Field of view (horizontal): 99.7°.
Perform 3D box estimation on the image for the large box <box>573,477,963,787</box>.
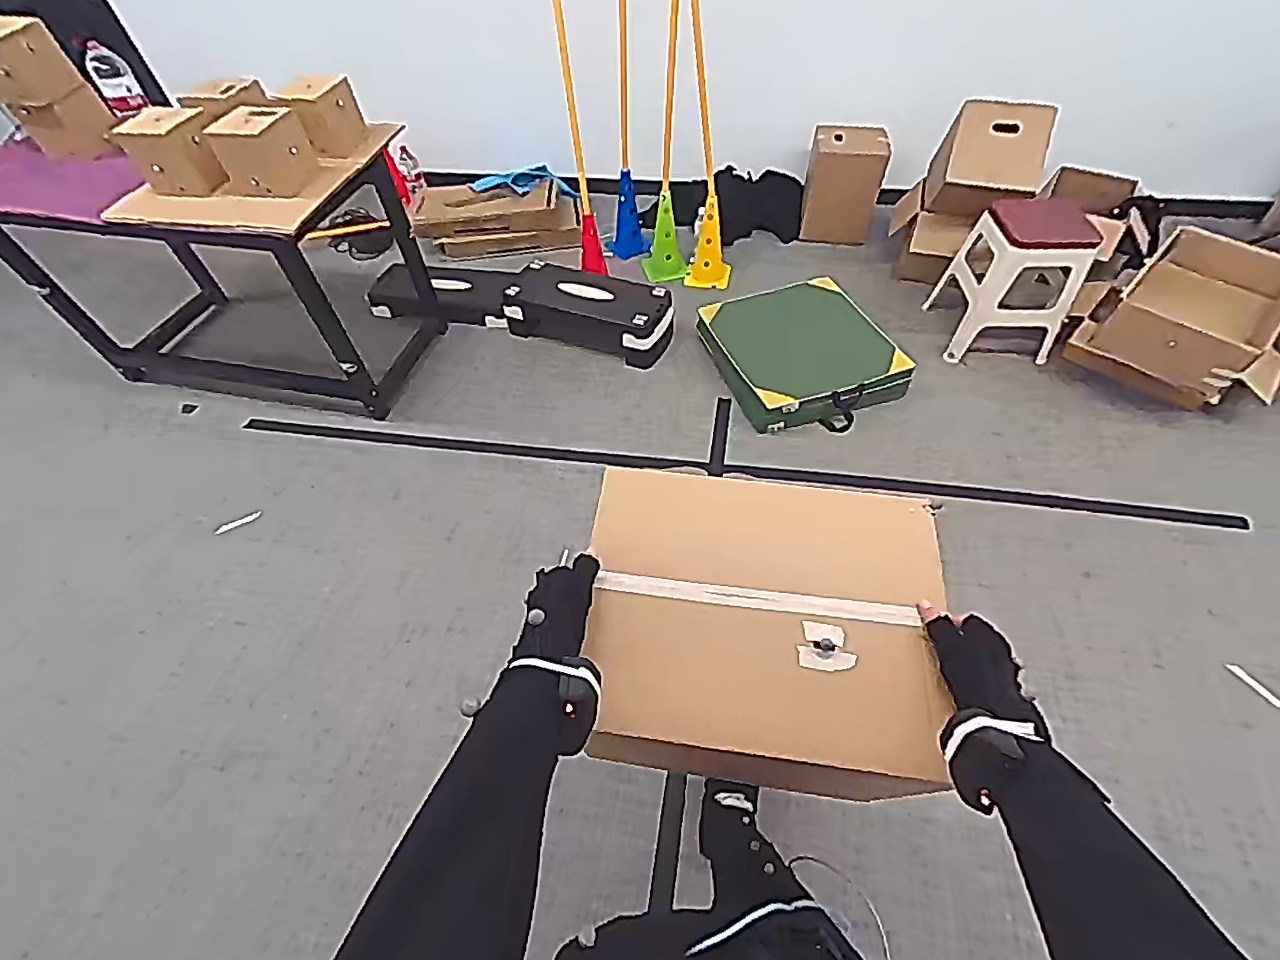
[{"bbox_3d":[0.143,0.221,0.752,0.408,0.320,0.320,6,59,5],"label":"large box"}]
